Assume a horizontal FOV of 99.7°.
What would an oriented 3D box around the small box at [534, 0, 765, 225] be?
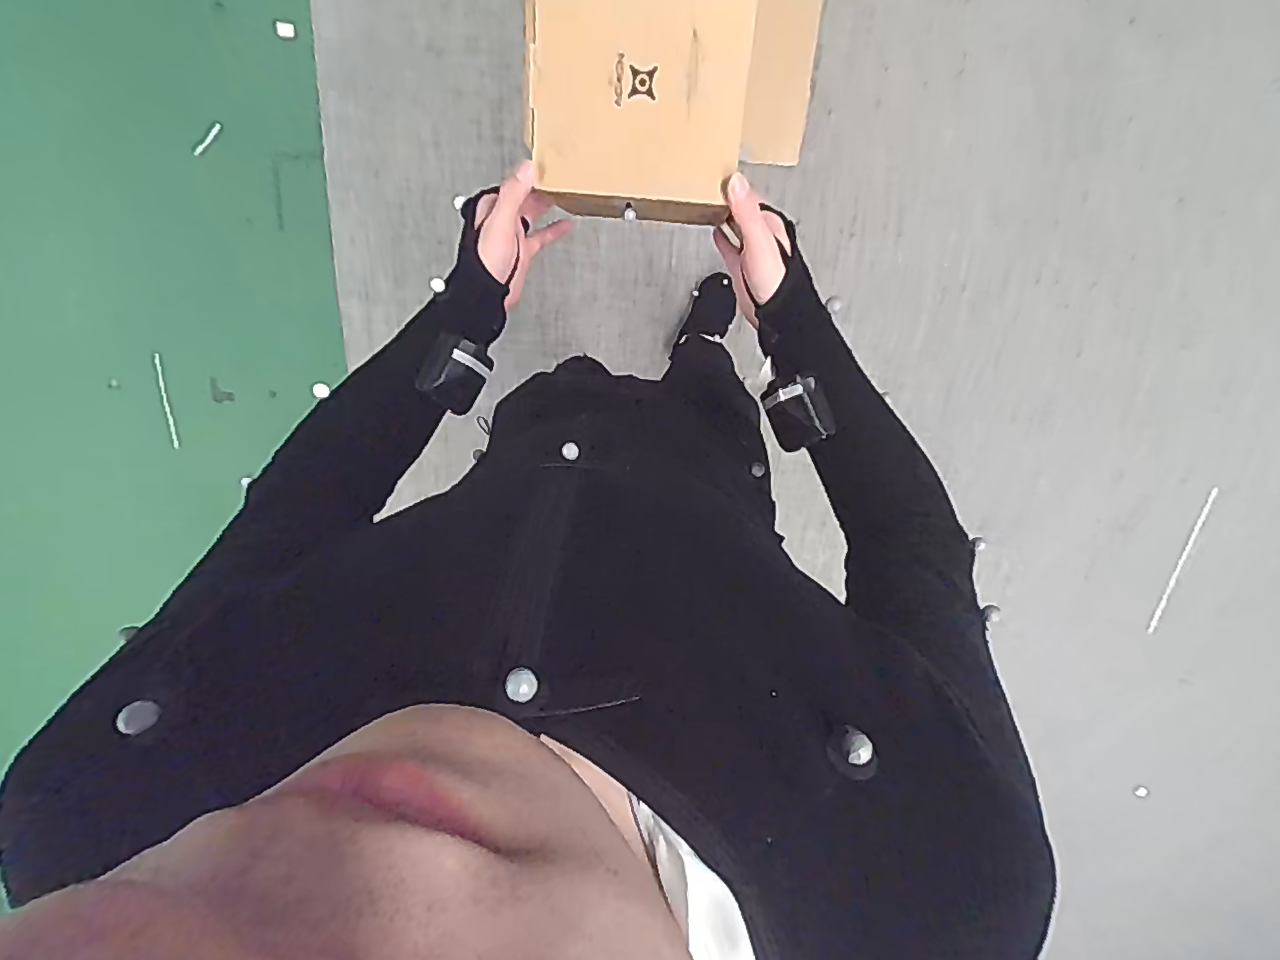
[{"bbox_3d":[0.009,-0.343,0.509,0.179,0.176,0.168,6,111,2],"label":"small box"}]
